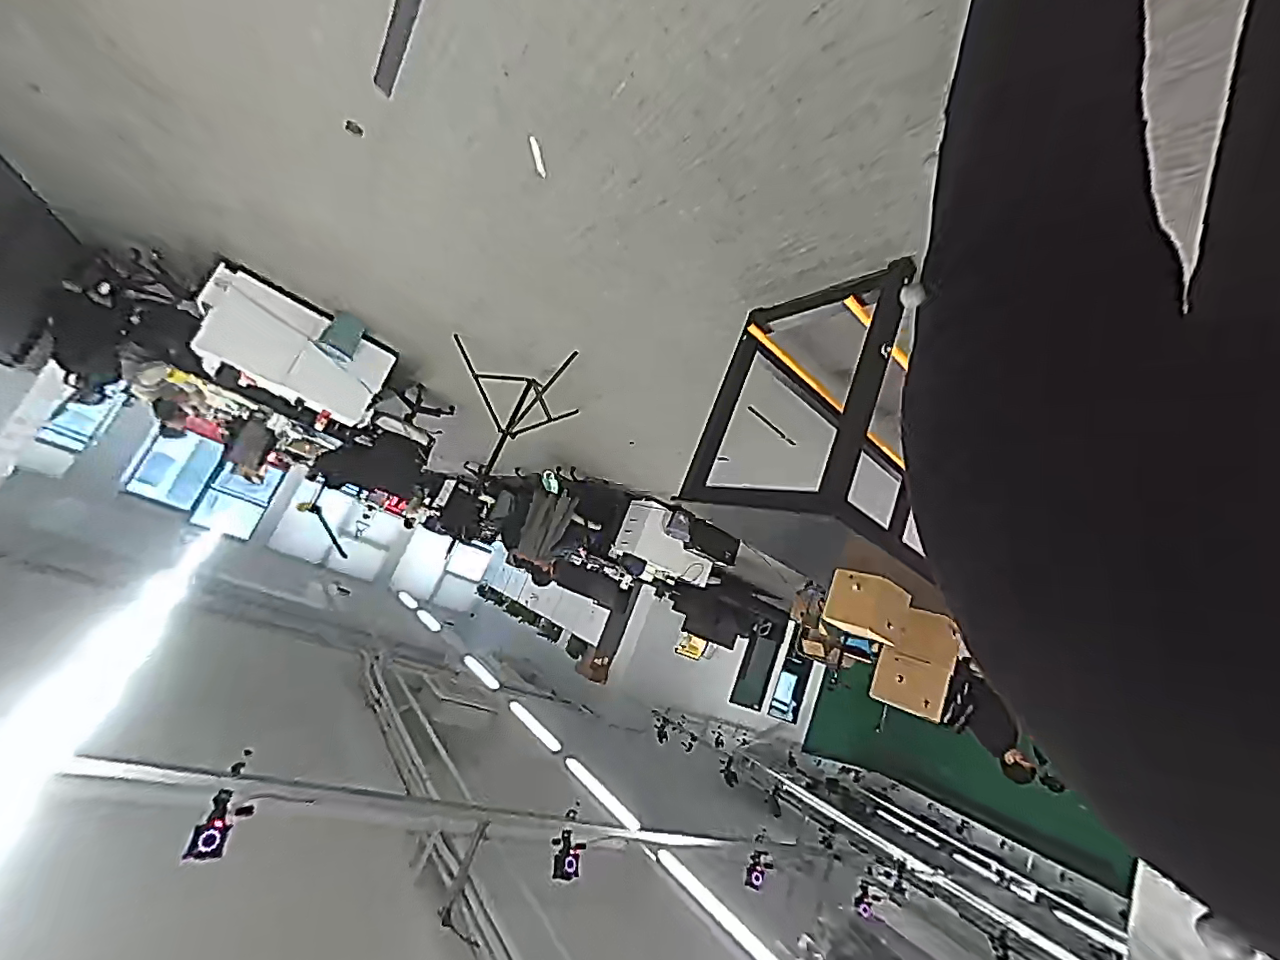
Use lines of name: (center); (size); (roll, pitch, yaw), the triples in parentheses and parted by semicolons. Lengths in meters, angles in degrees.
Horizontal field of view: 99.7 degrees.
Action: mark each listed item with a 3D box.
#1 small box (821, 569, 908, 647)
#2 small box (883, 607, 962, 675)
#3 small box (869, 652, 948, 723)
small box: (0.704, 0.395, 1.682); (0.179, 0.176, 0.168); (31, 165, -32)
small box: (0.976, 0.548, 1.865); (0.168, 0.176, 0.179); (30, 165, -34)
small box: (0.915, 0.699, 1.838); (0.179, 0.176, 0.168); (30, 166, -34)
